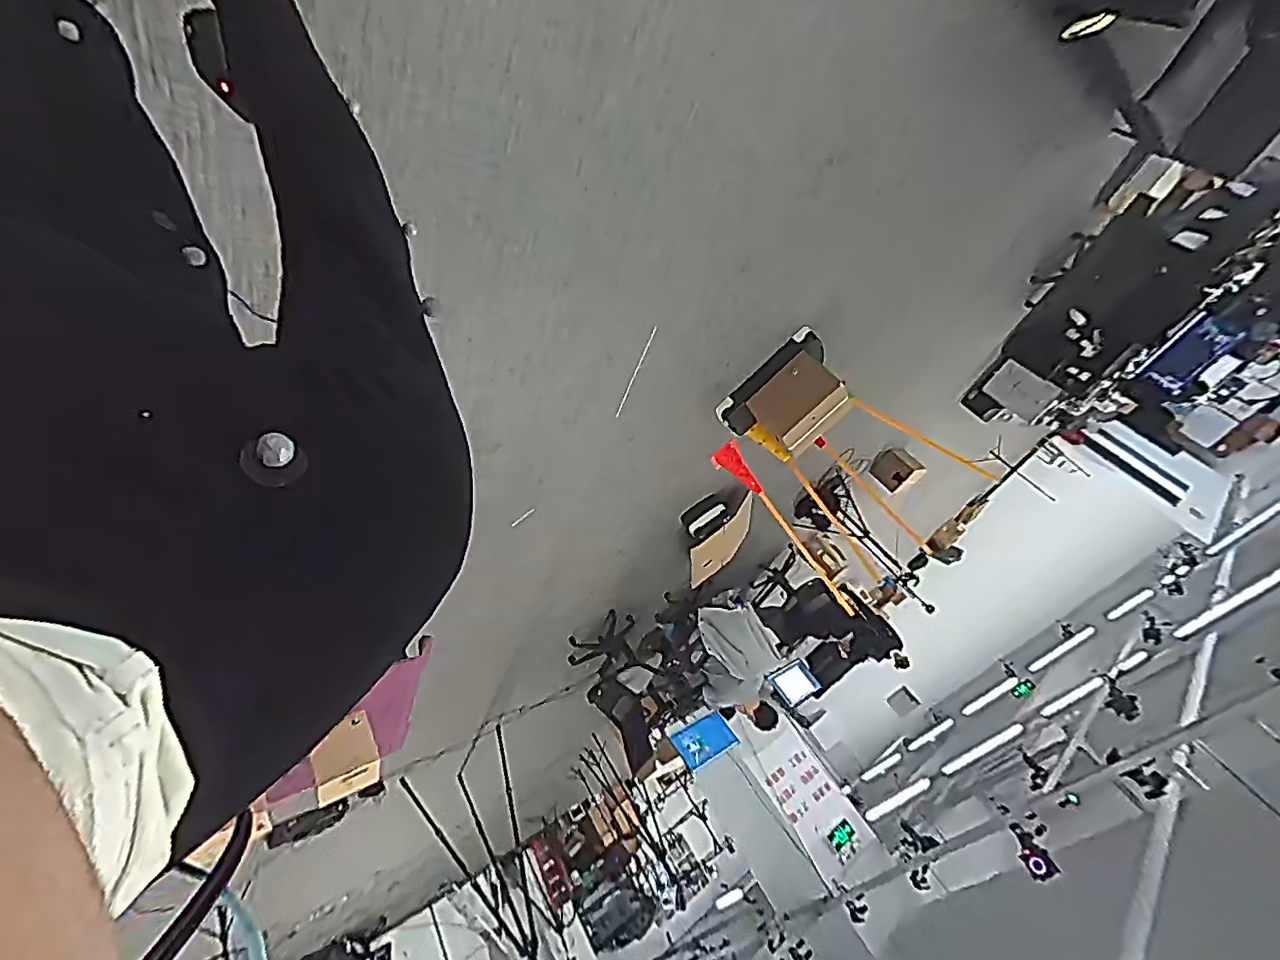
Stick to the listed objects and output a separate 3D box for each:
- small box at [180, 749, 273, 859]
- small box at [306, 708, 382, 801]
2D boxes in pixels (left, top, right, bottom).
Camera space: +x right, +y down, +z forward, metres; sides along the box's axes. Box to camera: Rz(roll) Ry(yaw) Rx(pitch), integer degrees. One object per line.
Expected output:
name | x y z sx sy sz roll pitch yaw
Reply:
small box | -1.110 0.864 1.453 0.179 0.176 0.168 -12 142 -37
small box | -0.889 0.815 1.622 0.168 0.176 0.179 -12 142 -37
